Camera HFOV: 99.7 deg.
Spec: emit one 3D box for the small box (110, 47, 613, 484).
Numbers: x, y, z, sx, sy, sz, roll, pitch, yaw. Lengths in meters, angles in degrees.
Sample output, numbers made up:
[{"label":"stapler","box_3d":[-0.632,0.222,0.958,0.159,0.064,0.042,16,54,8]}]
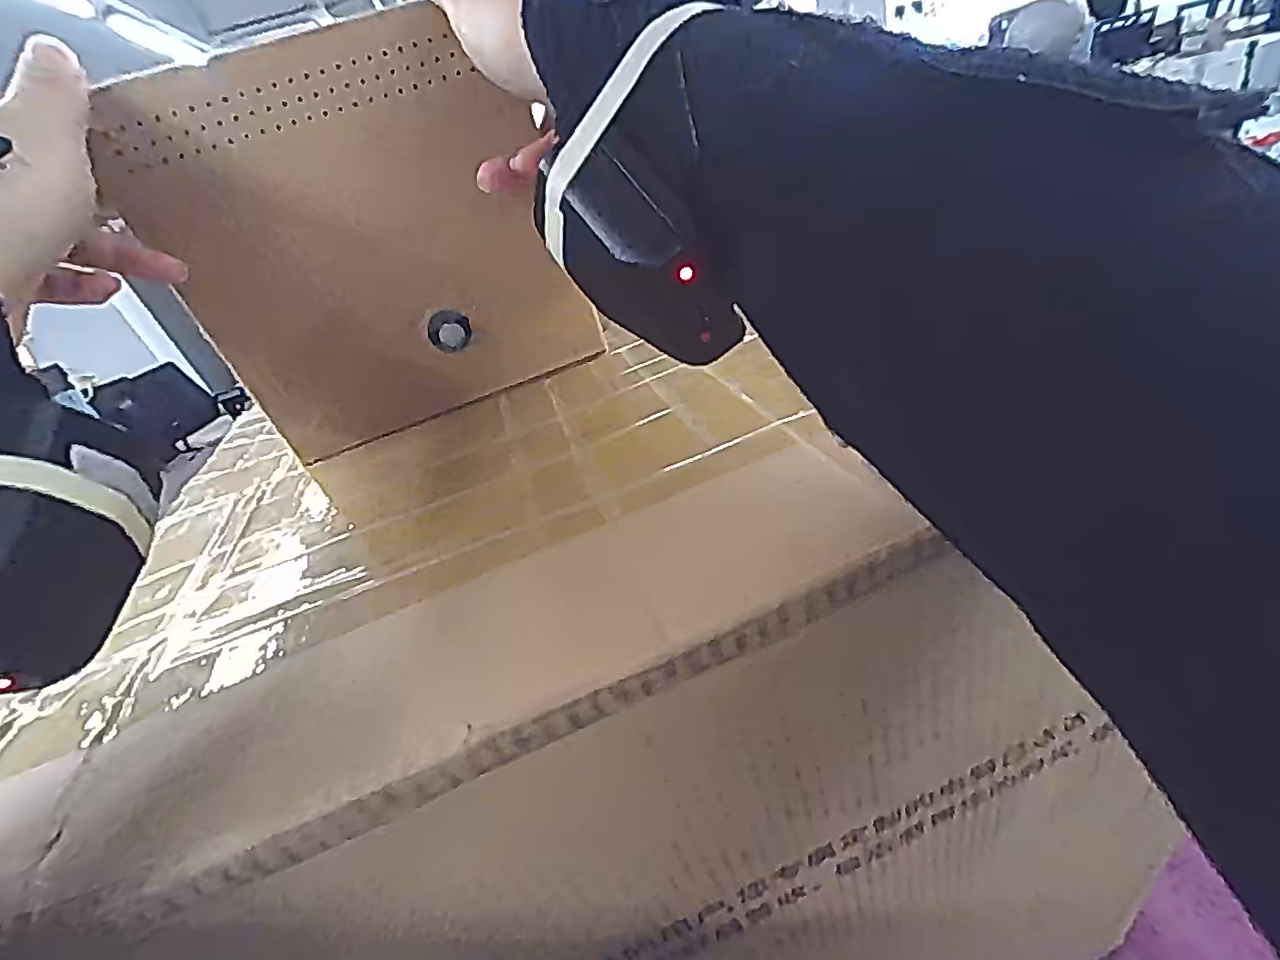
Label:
[{"label":"small box","box_3d":[-0.140,-0.132,0.330,0.179,0.176,0.168,-23,33,-9]}]
